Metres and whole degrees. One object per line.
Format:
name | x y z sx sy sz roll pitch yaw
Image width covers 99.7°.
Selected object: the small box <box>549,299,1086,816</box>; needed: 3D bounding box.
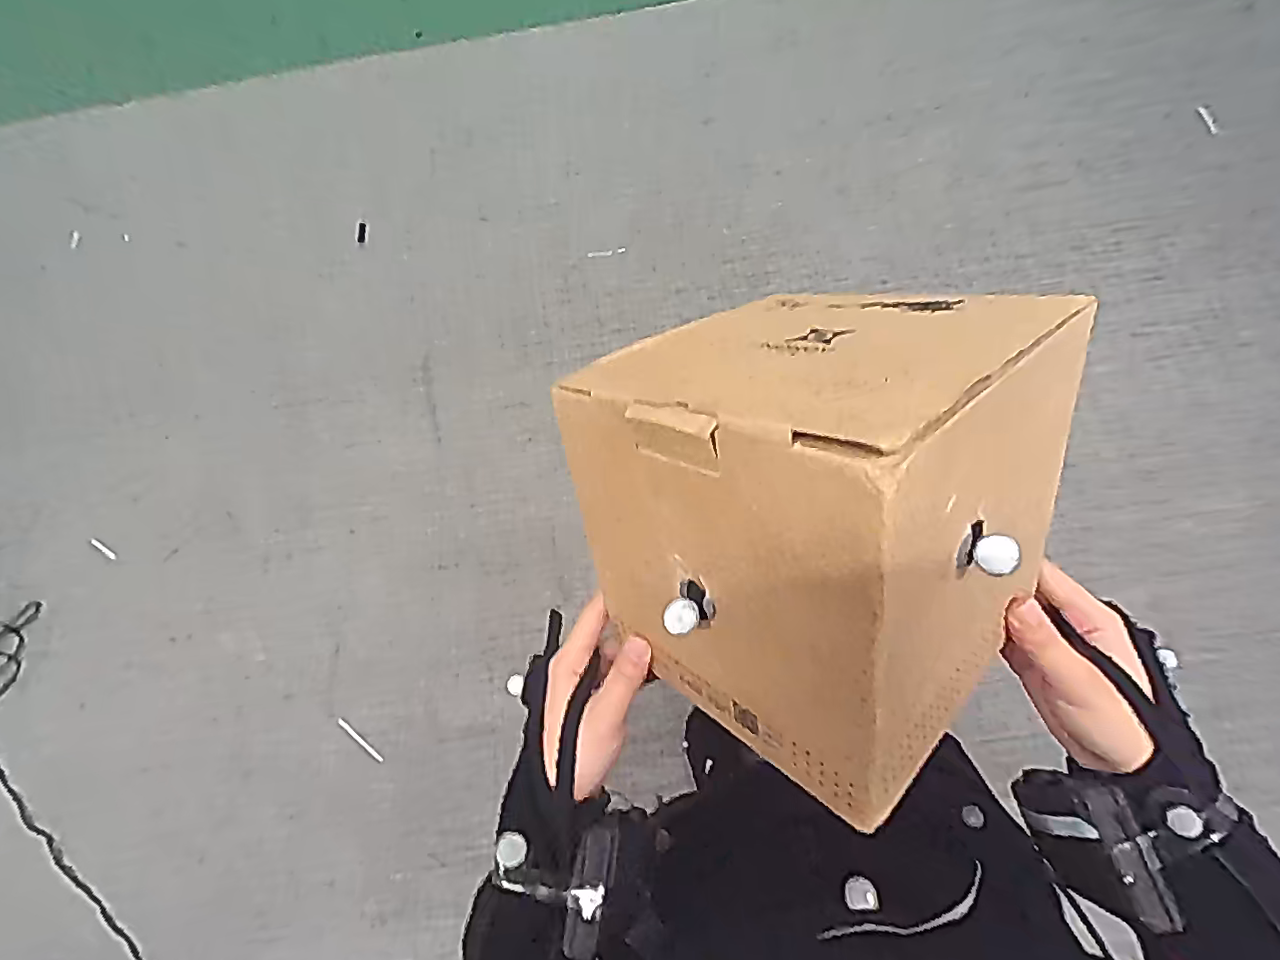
small box | 0.086 0.016 0.274 0.179 0.176 0.168 -30 32 -31
